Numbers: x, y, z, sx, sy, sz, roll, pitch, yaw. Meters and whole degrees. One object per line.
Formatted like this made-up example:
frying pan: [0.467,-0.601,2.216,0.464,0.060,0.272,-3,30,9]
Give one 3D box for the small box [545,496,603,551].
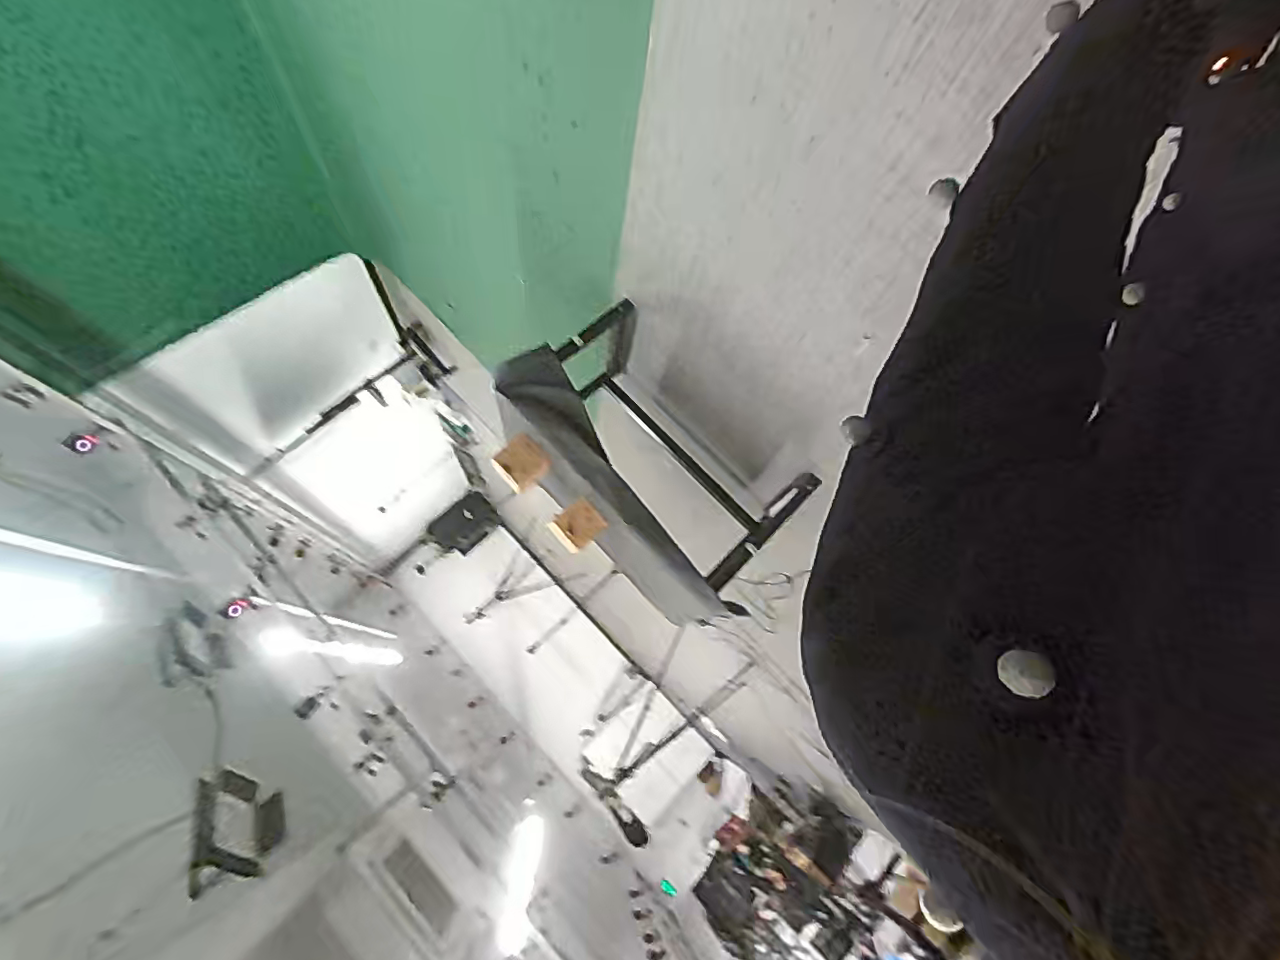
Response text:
small box: [-0.277,0.185,2.286,0.168,0.176,0.179,51,160,-5]
